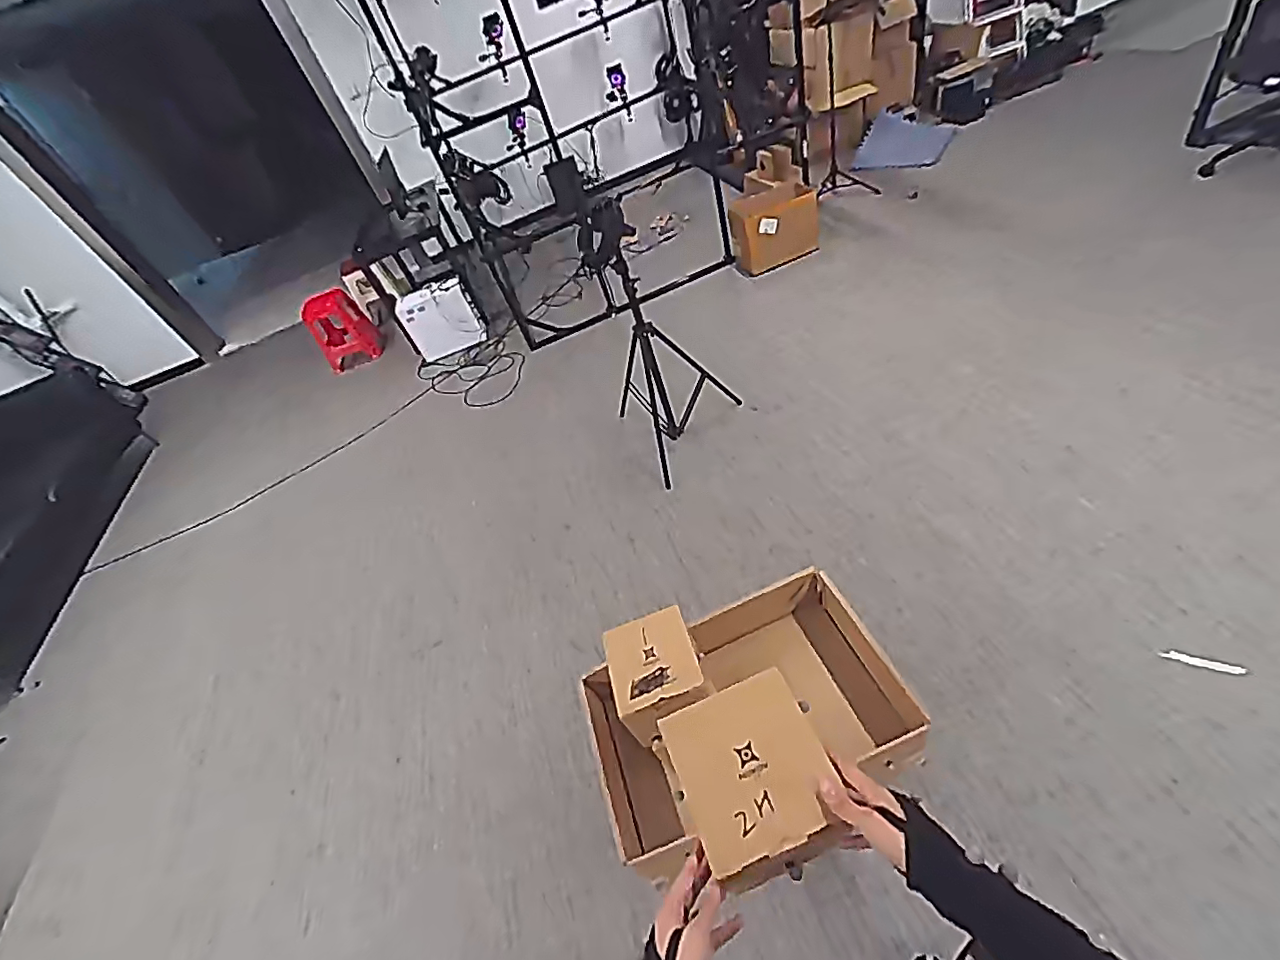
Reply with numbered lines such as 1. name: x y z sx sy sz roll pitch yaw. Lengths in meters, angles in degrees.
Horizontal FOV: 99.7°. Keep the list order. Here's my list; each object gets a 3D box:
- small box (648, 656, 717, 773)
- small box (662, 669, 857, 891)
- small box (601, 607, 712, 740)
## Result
1. small box: 0.090 0.497 1.176 0.168 0.176 0.179 -26 43 -3
2. small box: 0.144 0.376 0.676 0.168 0.176 0.179 -23 47 -3
3. small box: 0.039 0.388 1.063 0.168 0.176 0.179 -21 43 1
